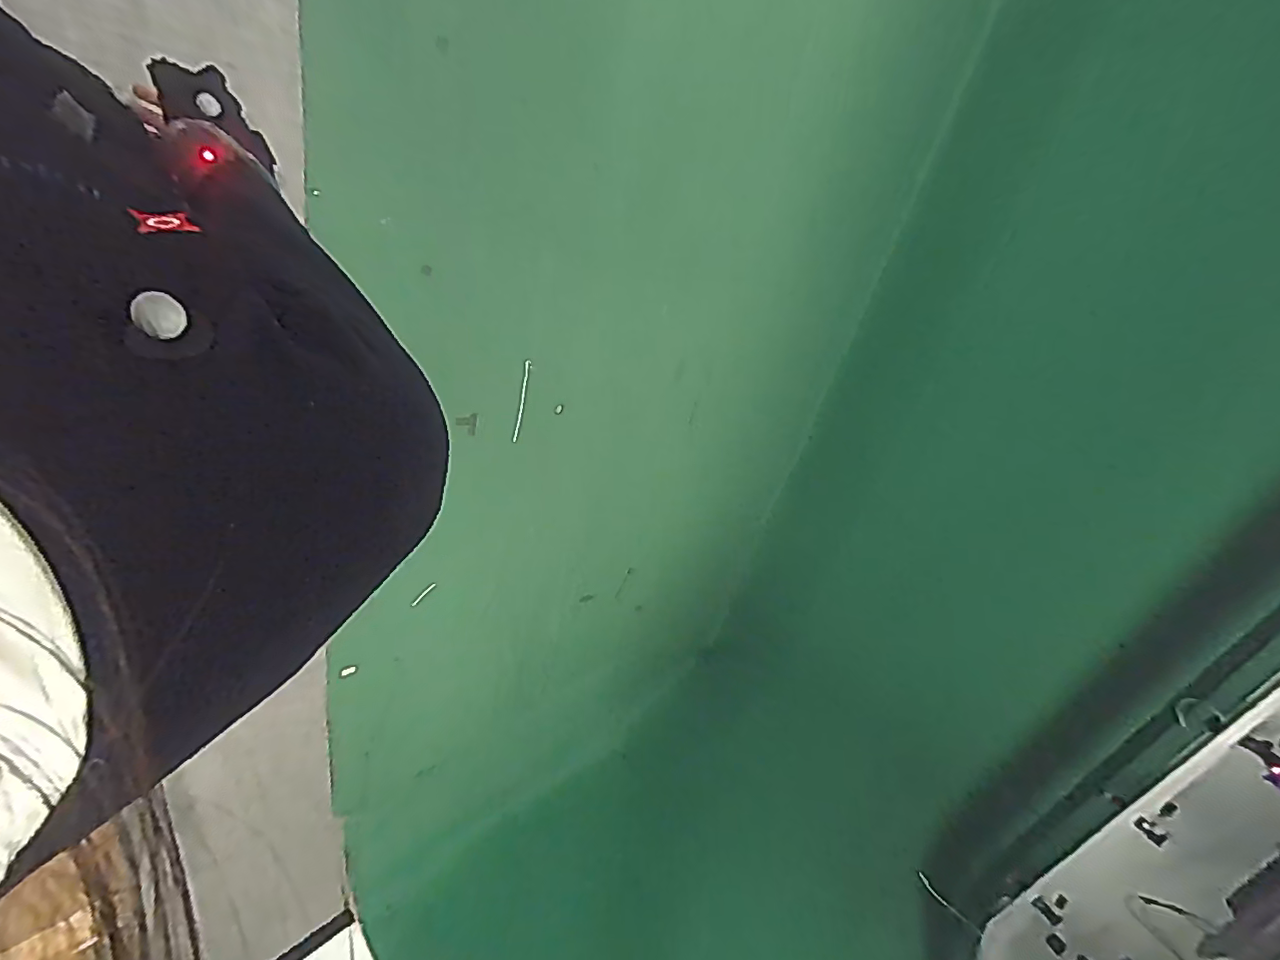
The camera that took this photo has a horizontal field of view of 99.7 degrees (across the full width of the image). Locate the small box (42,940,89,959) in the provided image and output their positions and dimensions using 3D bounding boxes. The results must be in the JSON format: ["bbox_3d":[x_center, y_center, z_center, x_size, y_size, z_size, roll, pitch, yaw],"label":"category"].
[{"bbox_3d":[-1.449,1.288,1.305,0.179,0.176,0.168,-10,124,-48],"label":"small box"}]
